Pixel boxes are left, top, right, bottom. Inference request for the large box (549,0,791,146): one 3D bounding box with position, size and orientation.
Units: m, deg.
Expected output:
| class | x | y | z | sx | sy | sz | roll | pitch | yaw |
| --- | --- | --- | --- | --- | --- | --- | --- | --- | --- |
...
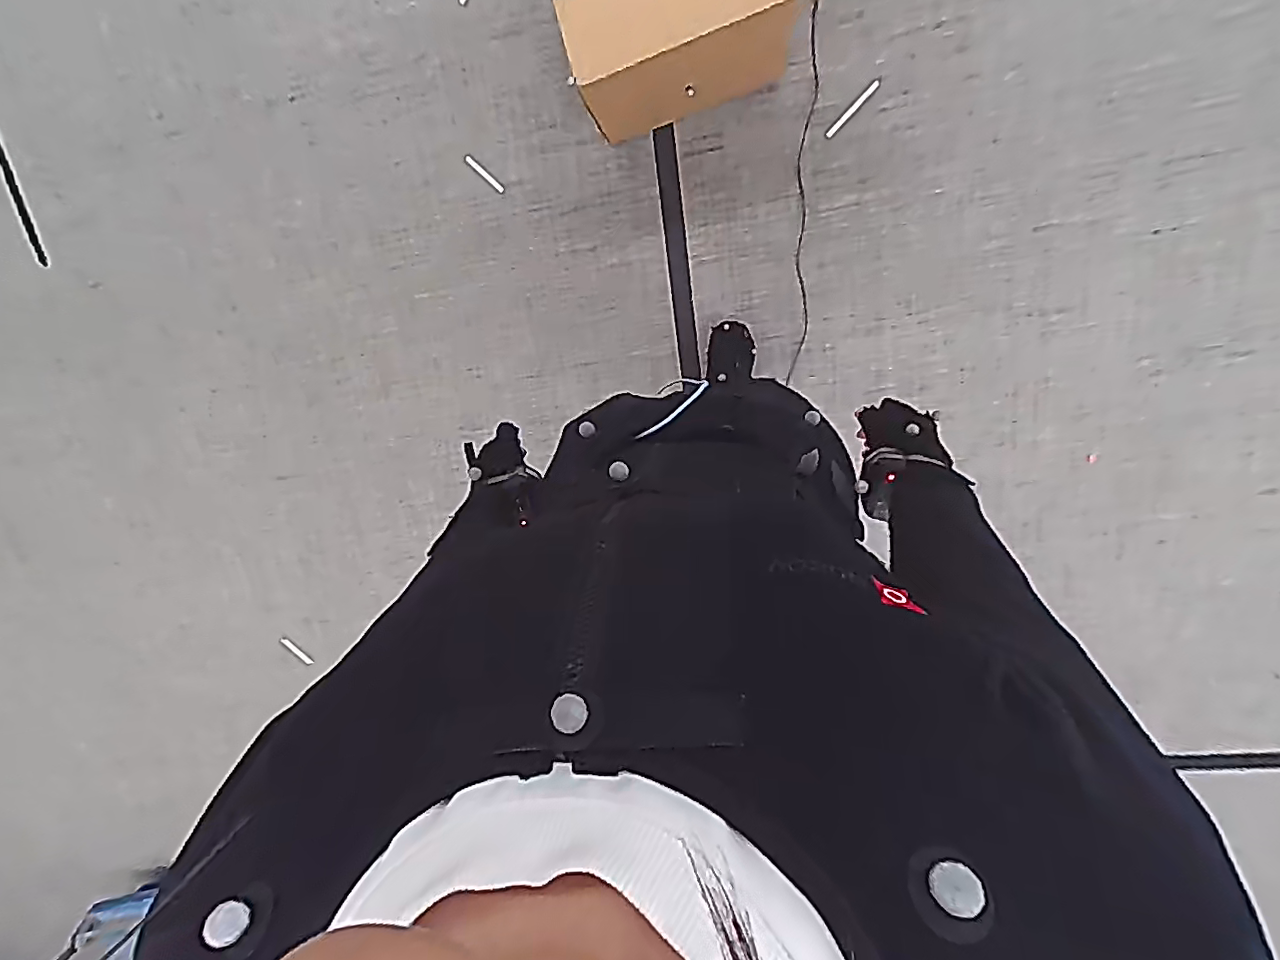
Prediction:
| class | x | y | z | sx | sy | sz | roll | pitch | yaw |
| --- | --- | --- | --- | --- | --- | --- | --- | --- | --- |
| large box | 0.052 | -0.936 | 1.063 | 0.408 | 0.320 | 0.320 | -14 | 101 | 13 |
